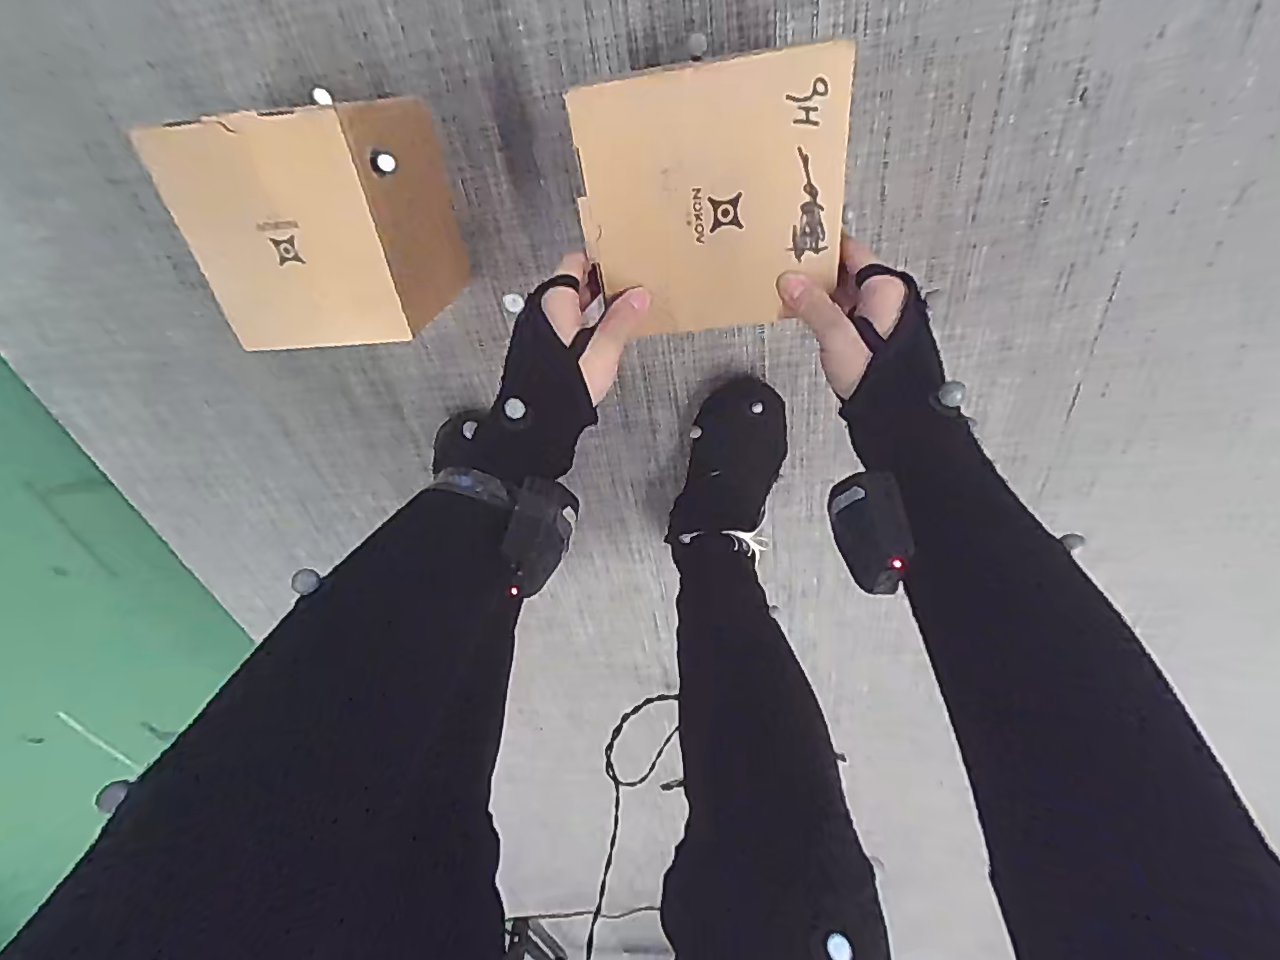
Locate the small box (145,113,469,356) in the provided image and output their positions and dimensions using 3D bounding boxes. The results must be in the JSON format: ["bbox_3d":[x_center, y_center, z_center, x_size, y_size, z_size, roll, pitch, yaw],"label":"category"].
[{"bbox_3d":[-0.283,-0.235,0.514,0.168,0.176,0.179,-2,125,6],"label":"small box"}]

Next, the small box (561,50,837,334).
[{"bbox_3d":[0.049,-0.237,0.447,0.179,0.176,0.168,-5,128,7],"label":"small box"}]
